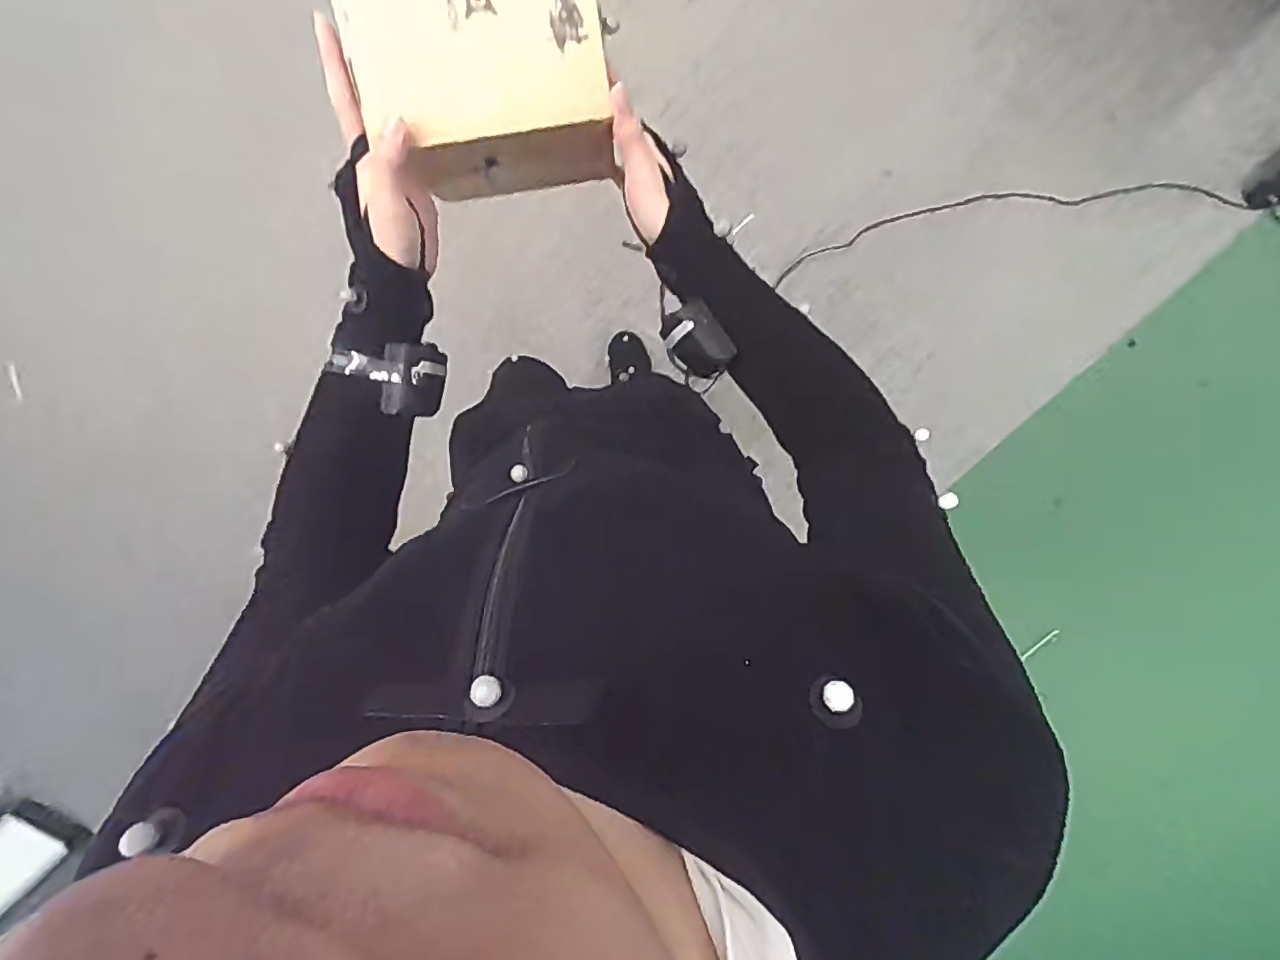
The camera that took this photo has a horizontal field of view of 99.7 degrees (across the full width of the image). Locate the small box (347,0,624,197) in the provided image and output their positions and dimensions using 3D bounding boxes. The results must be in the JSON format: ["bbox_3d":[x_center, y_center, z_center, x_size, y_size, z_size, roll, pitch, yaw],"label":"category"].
[{"bbox_3d":[-0.110,-0.345,0.438,0.179,0.176,0.168,-7,106,1],"label":"small box"}]
